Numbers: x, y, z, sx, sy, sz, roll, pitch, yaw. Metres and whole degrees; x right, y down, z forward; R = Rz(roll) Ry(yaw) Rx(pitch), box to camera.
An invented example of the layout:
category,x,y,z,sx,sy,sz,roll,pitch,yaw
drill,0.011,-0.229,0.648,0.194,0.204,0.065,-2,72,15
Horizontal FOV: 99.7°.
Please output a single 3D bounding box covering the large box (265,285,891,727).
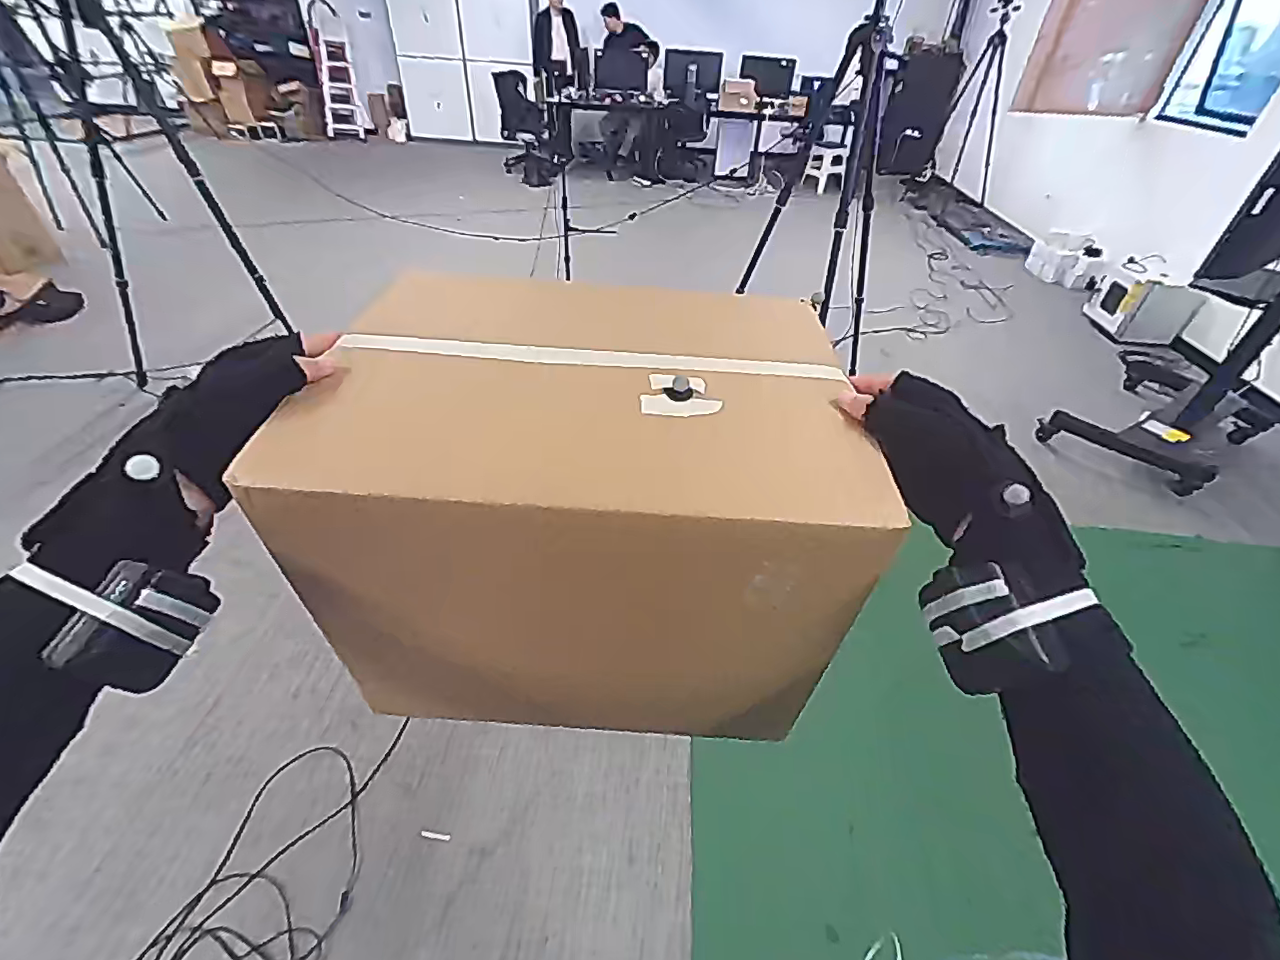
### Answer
category,x,y,z,sx,sy,sz,roll,pitch,yaw
large box,-0.044,0.025,0.546,0.408,0.320,0.320,5,43,-1
